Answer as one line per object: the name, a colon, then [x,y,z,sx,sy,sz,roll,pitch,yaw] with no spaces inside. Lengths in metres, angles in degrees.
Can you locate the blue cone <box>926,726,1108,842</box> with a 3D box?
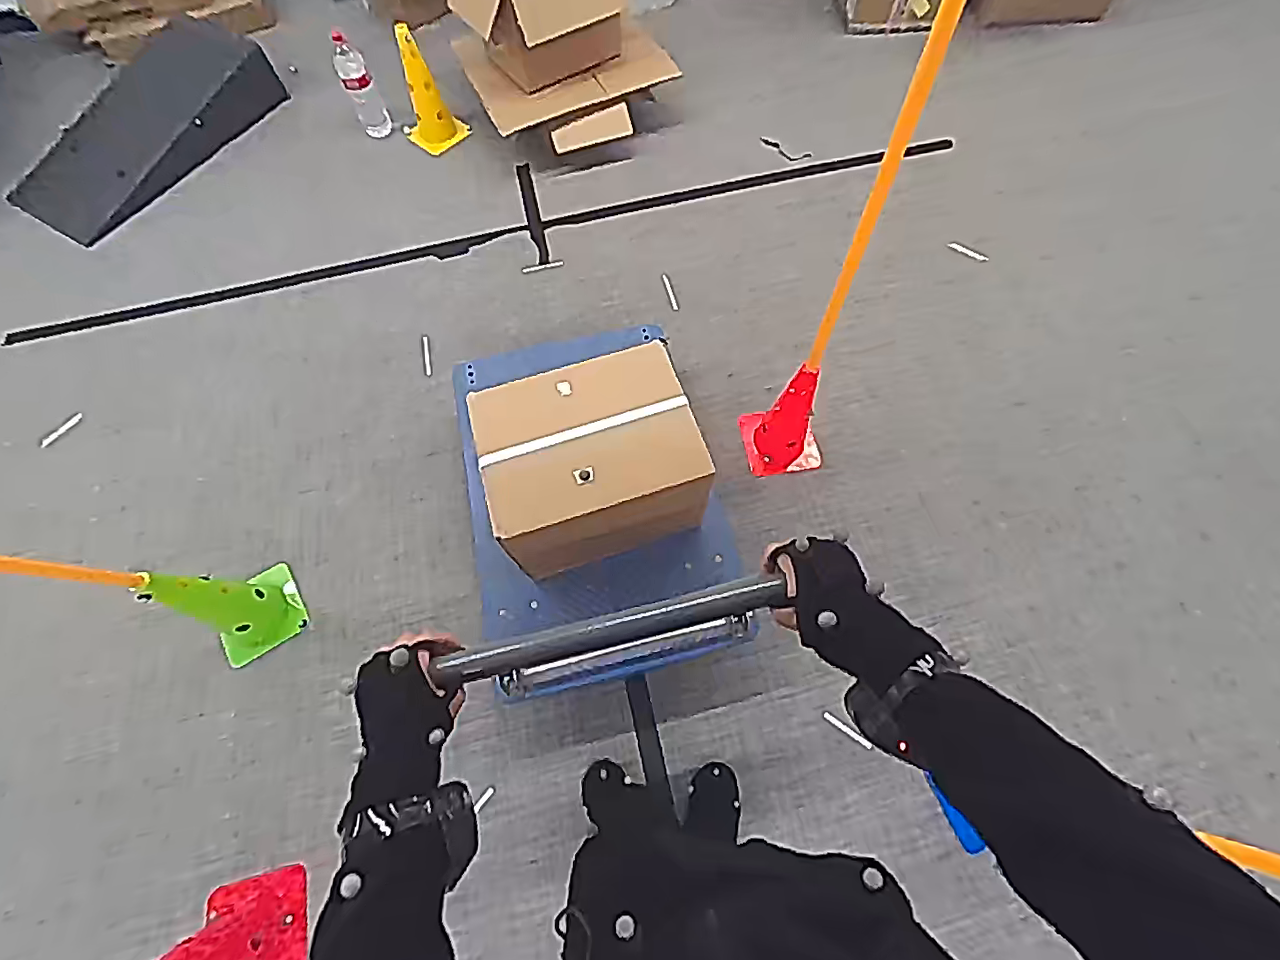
blue cone: [0.737,0.589,1.024,0.193,0.380,0.192,-17,65,-6]

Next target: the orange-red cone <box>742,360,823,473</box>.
orange-red cone: [0.395,-0.184,1.363,0.199,0.360,0.198,-7,66,-3]
